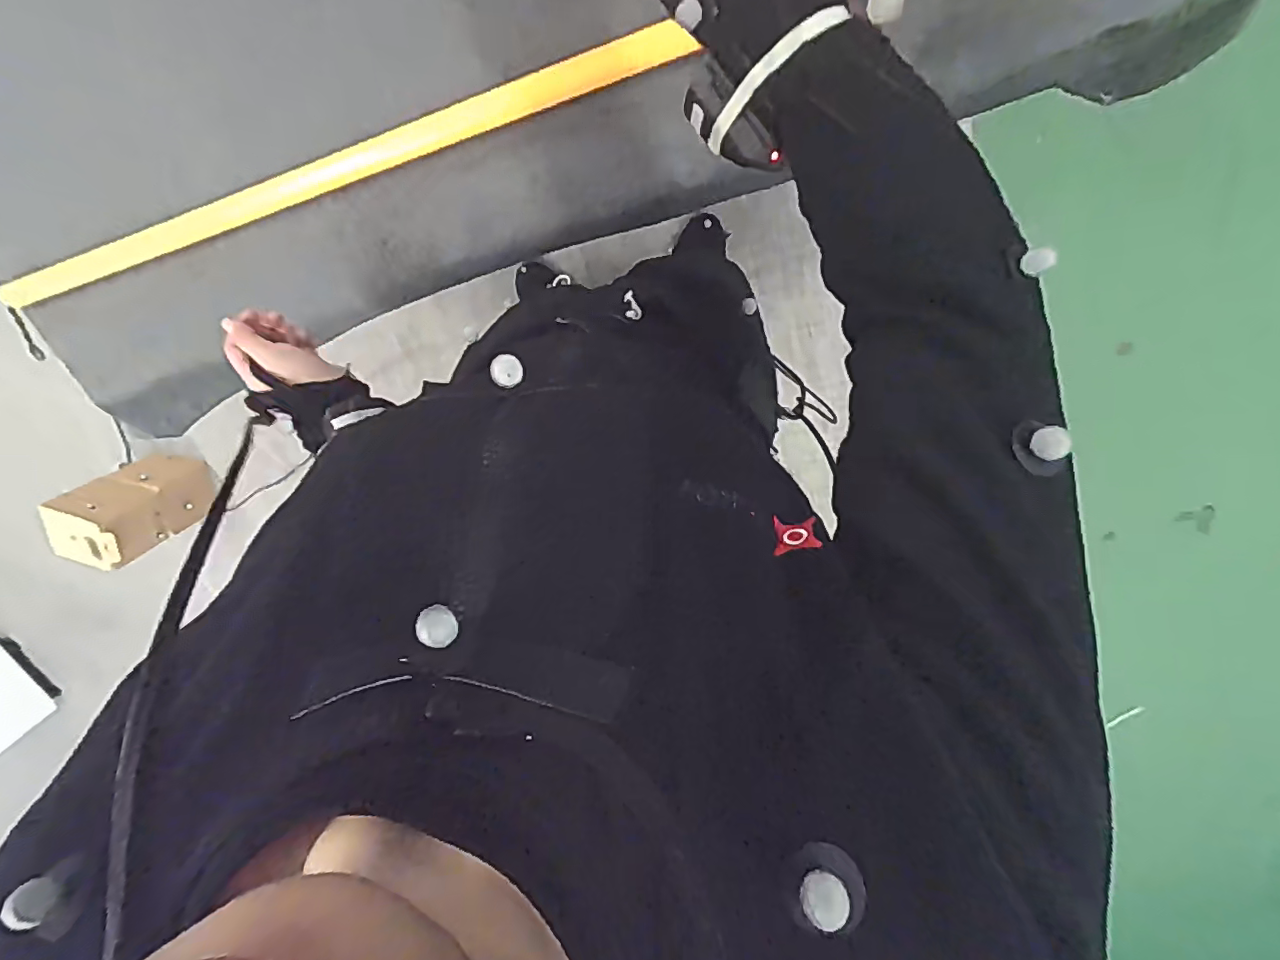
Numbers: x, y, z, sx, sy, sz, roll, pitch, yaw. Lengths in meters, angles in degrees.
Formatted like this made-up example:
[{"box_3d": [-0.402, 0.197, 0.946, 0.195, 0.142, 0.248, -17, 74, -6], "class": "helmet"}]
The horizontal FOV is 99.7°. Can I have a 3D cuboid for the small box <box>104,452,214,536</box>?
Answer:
[{"box_3d": [-1.440, 0.038, 1.635, 0.168, 0.176, 0.179, 12, 119, 3], "class": "small box"}]

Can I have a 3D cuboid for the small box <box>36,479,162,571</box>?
[{"box_3d": [-1.475, 0.117, 1.494, 0.179, 0.176, 0.168, 17, 119, 1], "class": "small box"}]
